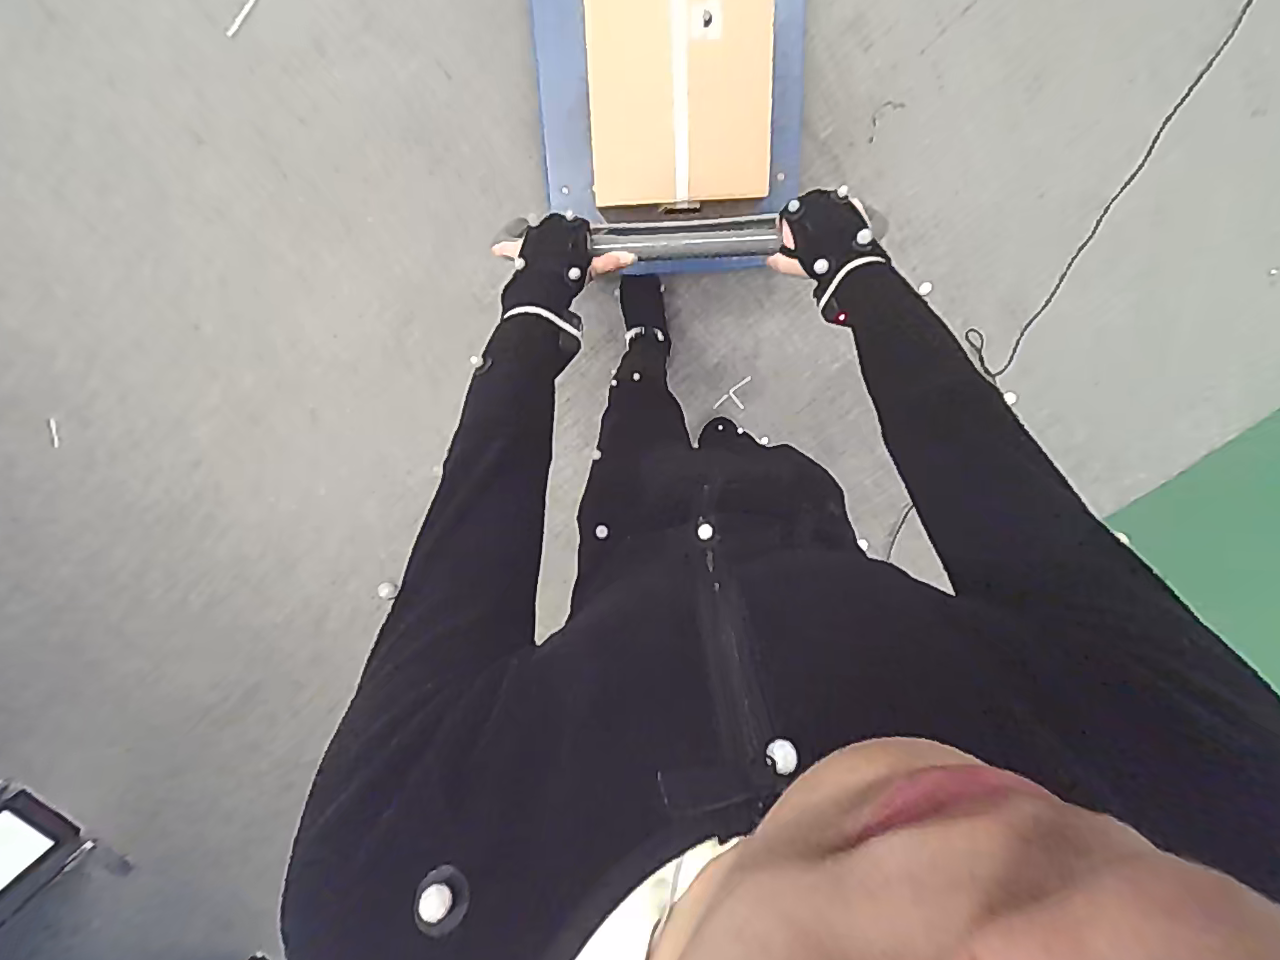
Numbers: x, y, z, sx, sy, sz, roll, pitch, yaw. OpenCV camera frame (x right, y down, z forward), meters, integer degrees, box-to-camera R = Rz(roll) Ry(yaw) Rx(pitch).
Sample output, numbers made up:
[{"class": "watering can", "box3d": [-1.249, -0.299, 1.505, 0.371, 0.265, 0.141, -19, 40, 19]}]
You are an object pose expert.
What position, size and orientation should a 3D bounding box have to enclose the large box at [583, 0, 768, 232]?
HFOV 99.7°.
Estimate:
[{"class": "large box", "box3d": [0.073, -0.742, 1.075, 0.320, 0.320, 0.408, -1, 107, 4]}]
